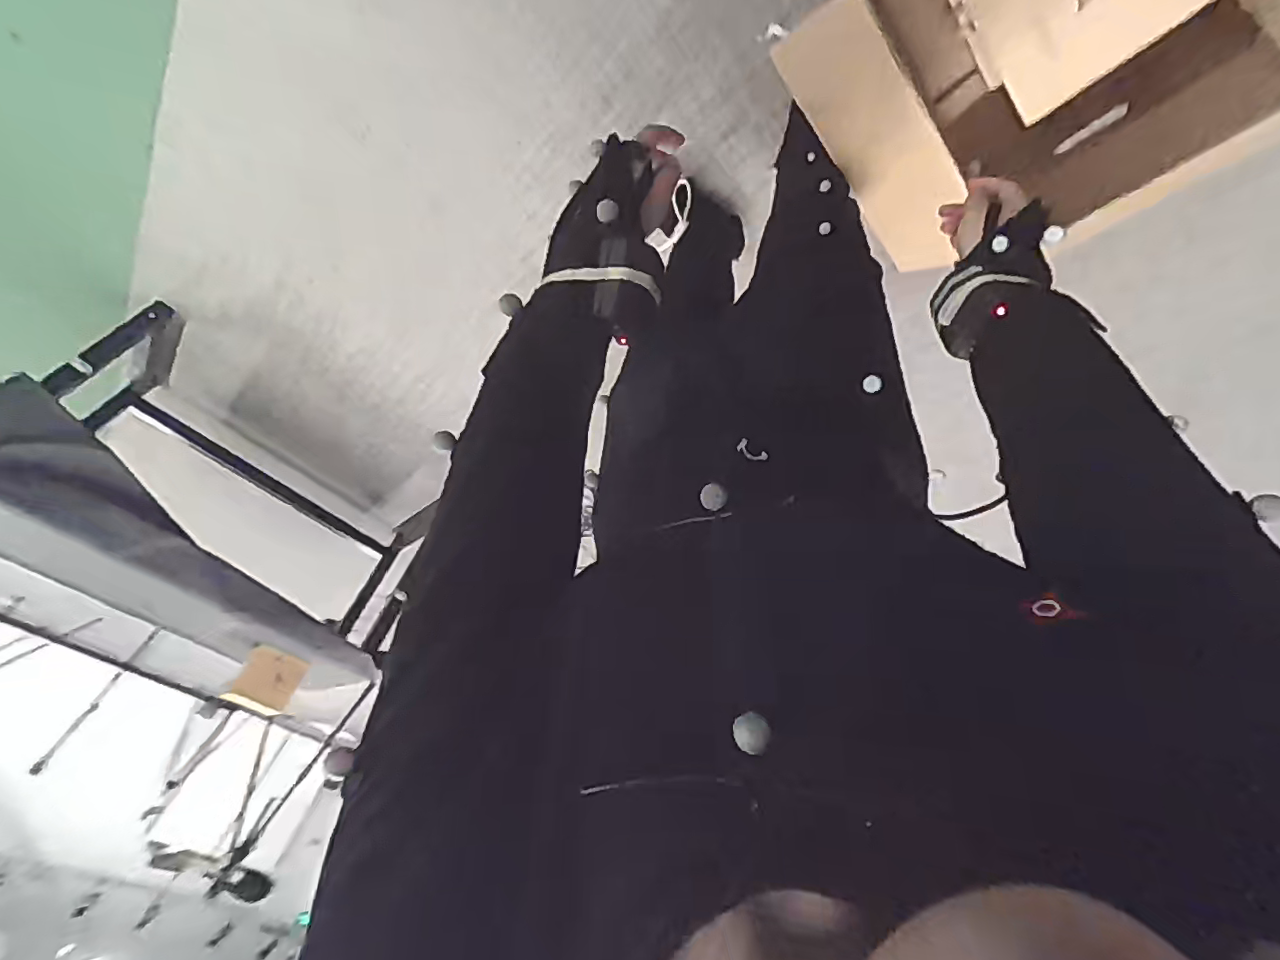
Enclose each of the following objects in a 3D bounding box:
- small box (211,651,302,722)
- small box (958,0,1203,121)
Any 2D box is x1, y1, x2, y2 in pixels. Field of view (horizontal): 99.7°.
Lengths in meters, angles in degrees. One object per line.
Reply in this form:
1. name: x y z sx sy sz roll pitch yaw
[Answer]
1. small box: -1.245 0.672 1.762 0.168 0.176 0.179 40 137 -25
2. small box: 0.452 -0.540 0.569 0.168 0.176 0.179 38 139 -25
